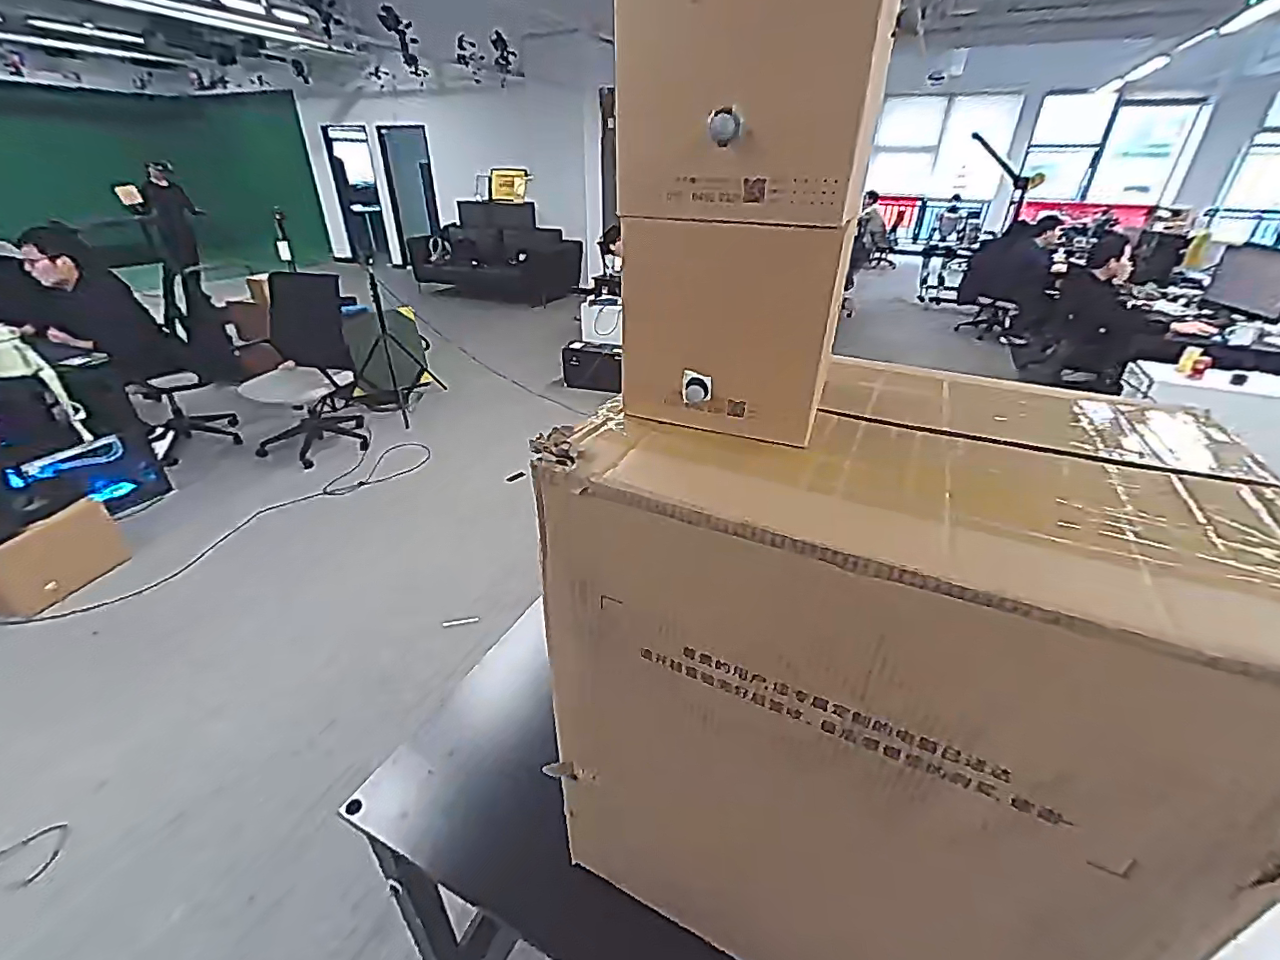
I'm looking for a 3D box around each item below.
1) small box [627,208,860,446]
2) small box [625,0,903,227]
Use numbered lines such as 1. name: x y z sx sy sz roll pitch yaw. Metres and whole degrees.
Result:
1. small box: 0.093 -0.151 0.489 0.168 0.176 0.179 11 33 18
2. small box: 0.091 -0.292 0.404 0.168 0.176 0.179 12 33 20
